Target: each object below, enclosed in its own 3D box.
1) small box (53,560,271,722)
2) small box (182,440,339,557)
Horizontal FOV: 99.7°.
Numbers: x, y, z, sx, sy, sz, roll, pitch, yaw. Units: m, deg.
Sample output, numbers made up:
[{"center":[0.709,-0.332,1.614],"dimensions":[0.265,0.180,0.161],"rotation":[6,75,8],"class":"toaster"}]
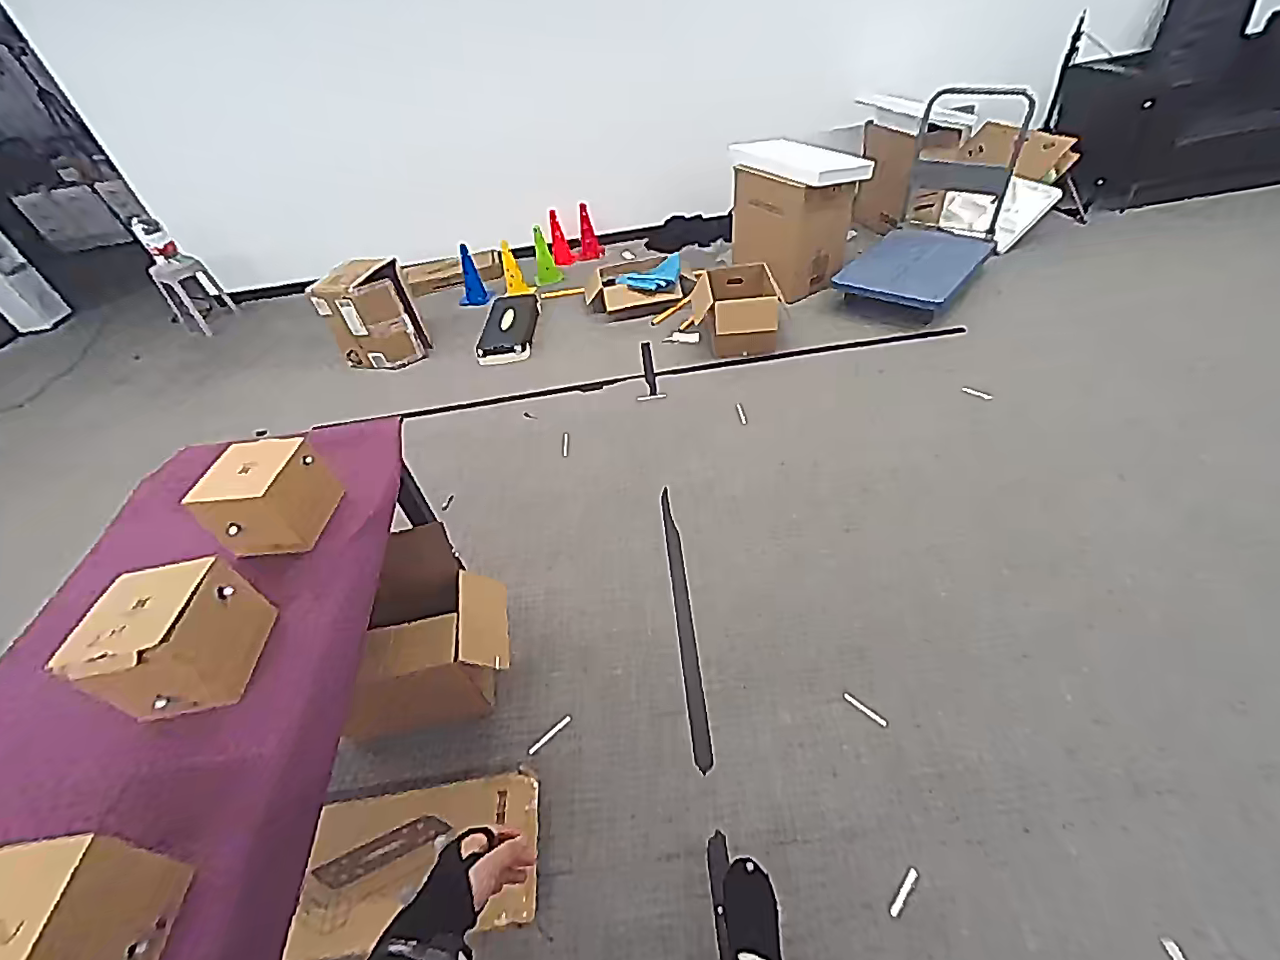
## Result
[{"center":[-0.741,0.259,0.869],"dimensions":[0.168,0.176,0.179],"rotation":[-12,43,1],"class":"small box"},{"center":[-0.755,0.043,1.103],"dimensions":[0.168,0.176,0.179],"rotation":[-5,43,5],"class":"small box"}]
